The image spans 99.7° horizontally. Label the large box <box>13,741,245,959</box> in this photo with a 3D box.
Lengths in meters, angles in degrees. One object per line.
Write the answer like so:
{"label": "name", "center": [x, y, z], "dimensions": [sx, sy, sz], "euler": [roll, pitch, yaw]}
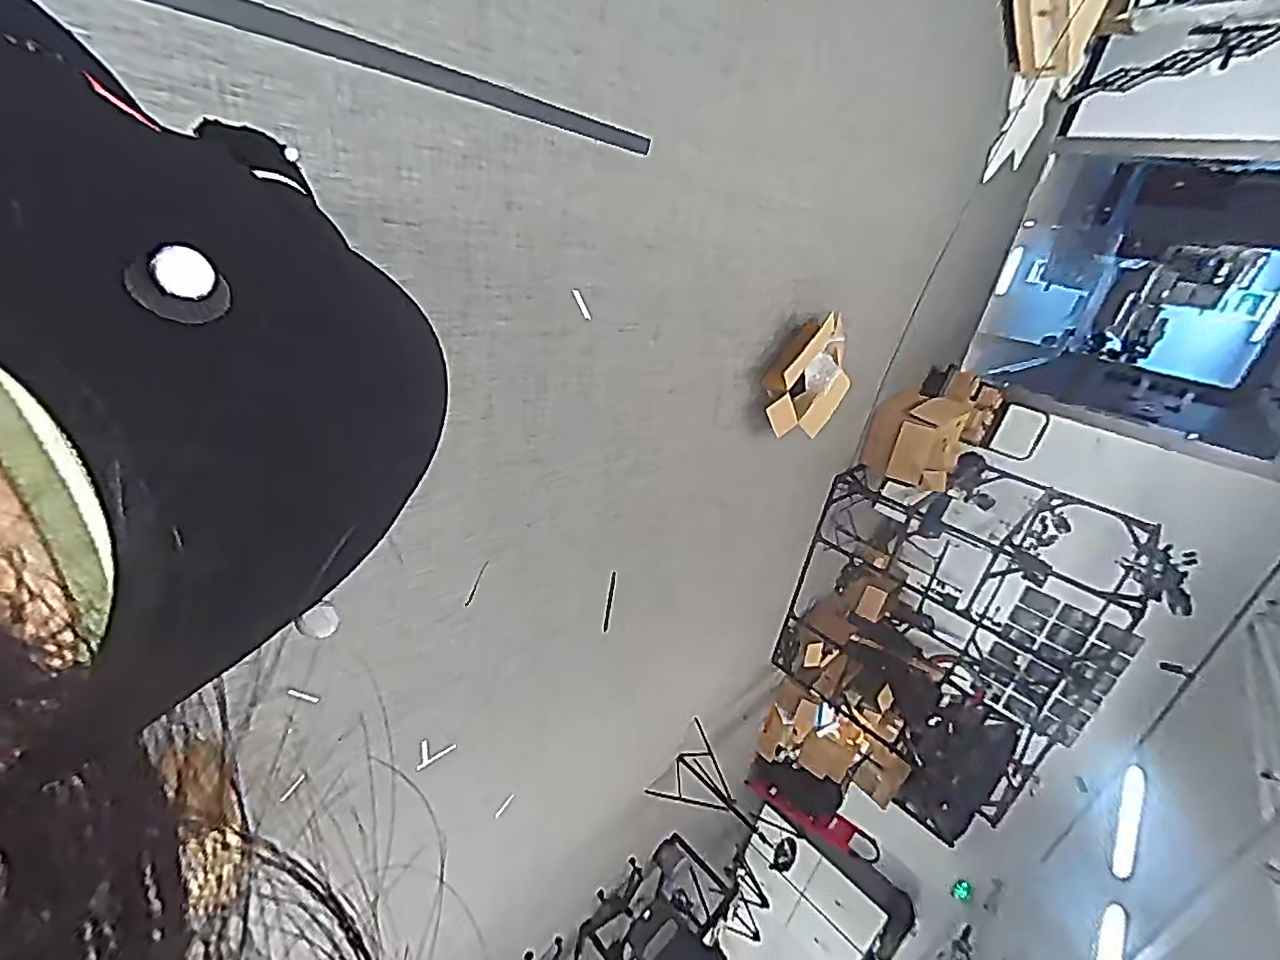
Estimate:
{"label": "large box", "center": [-1.320, 0.983, 1.420], "dimensions": [0.408, 0.320, 0.320], "euler": [-8, 119, -48]}
